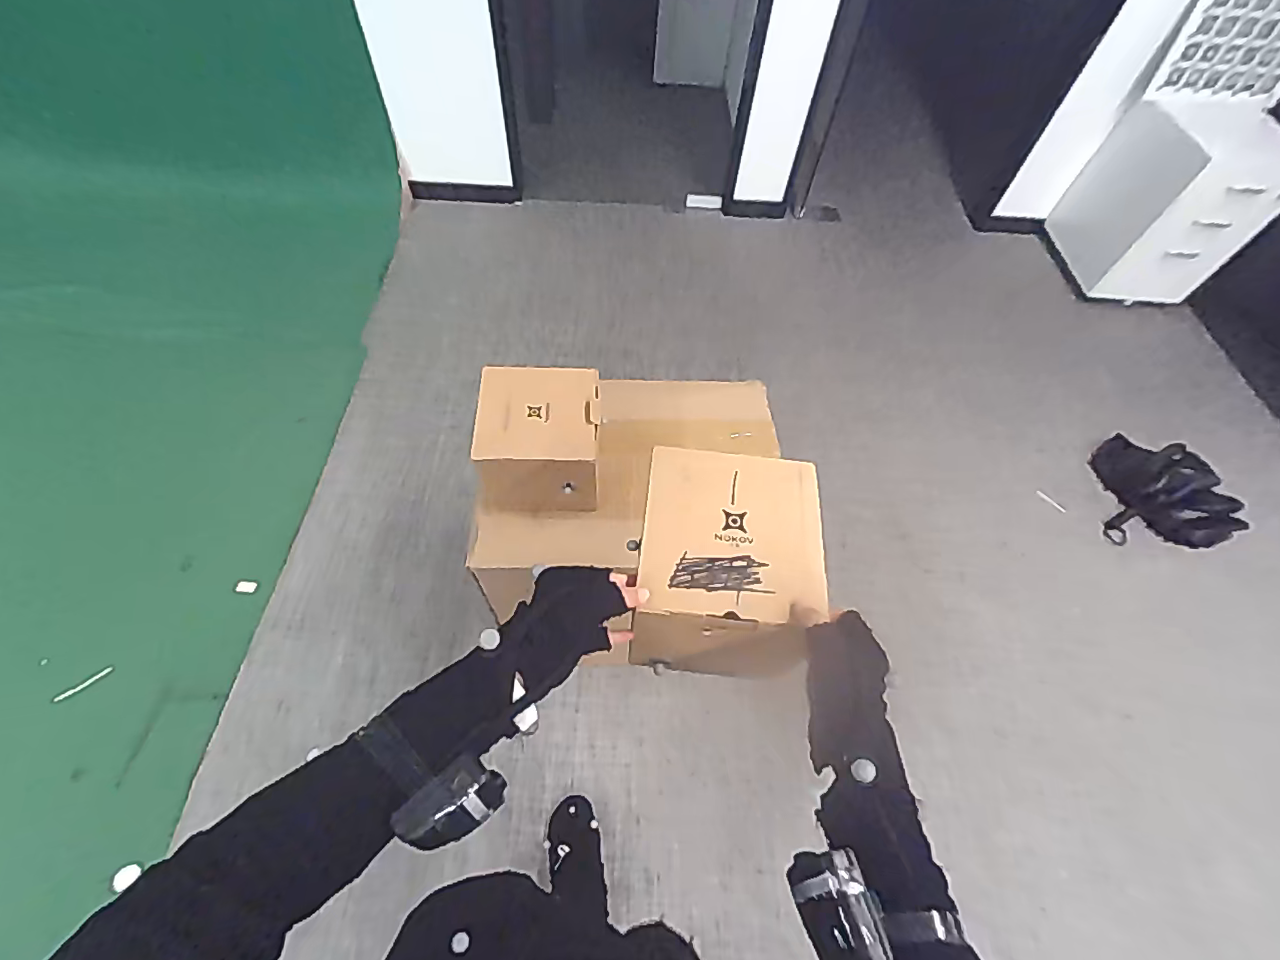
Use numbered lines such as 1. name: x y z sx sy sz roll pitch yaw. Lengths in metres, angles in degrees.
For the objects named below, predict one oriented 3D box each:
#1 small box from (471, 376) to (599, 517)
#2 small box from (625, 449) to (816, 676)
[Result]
1. small box: -0.155 -0.049 0.864 0.179 0.176 0.168 -1 61 -3
2. small box: 0.076 0.092 0.569 0.168 0.176 0.179 7 55 2
